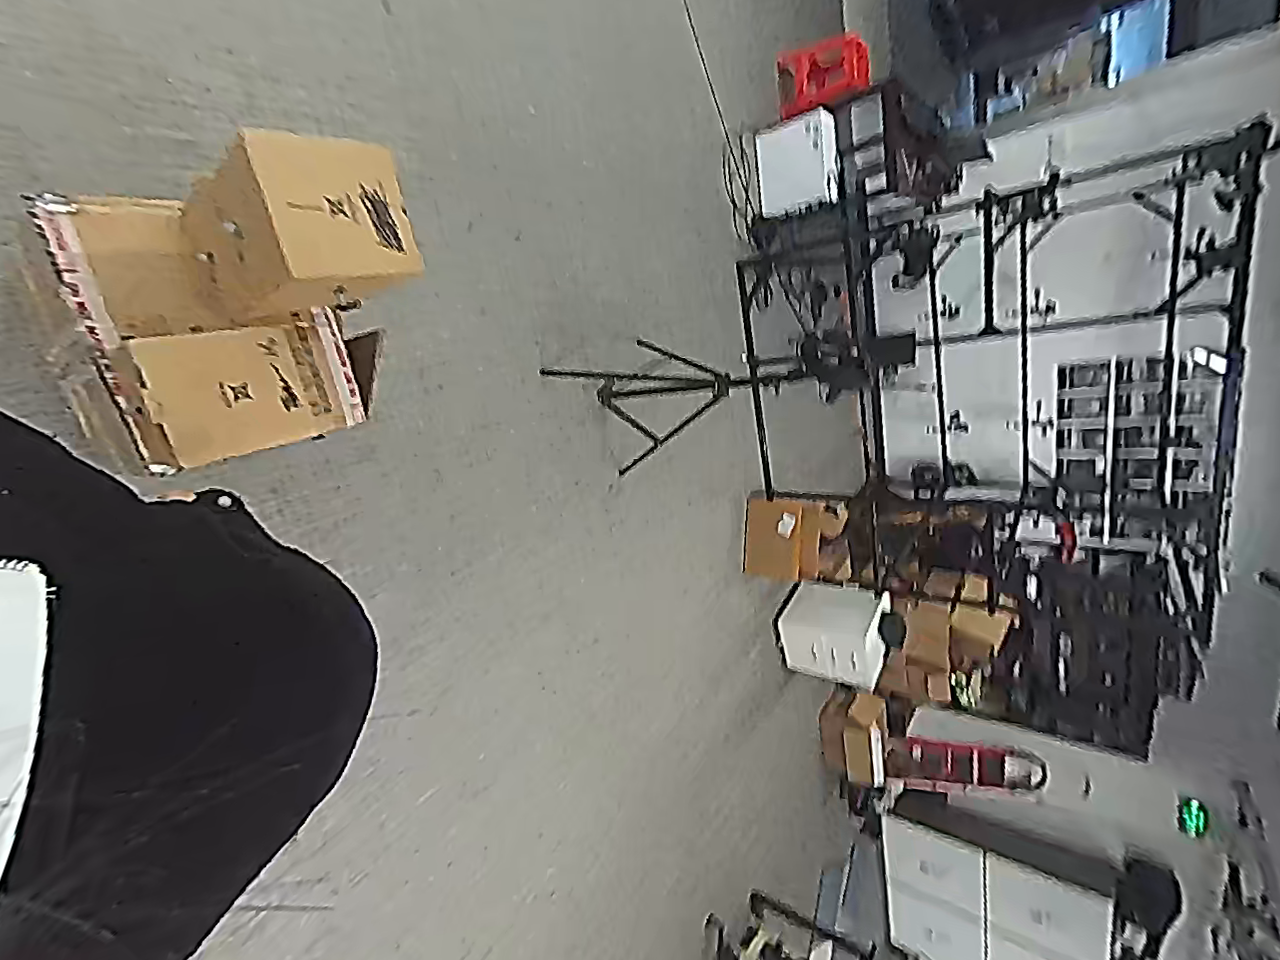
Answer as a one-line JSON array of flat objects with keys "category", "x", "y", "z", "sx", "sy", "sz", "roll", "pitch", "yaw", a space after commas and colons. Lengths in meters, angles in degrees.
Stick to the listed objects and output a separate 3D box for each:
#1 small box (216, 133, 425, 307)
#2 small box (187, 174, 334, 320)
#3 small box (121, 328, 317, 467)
[{"category": "small box", "x": -0.432, "y": -0.338, "z": 0.736, "sx": 0.179, "sy": 0.176, "sz": 0.168, "roll": -25, "pitch": 109, "yaw": -45}, {"category": "small box", "x": -0.556, "y": -0.357, "z": 0.843, "sx": 0.179, "sy": 0.176, "sz": 0.168, "roll": -30, "pitch": 113, "yaw": -44}, {"category": "small box", "x": -0.614, "y": -0.120, "z": 0.787, "sx": 0.179, "sy": 0.176, "sz": 0.168, "roll": -25, "pitch": 112, "yaw": -45}]
